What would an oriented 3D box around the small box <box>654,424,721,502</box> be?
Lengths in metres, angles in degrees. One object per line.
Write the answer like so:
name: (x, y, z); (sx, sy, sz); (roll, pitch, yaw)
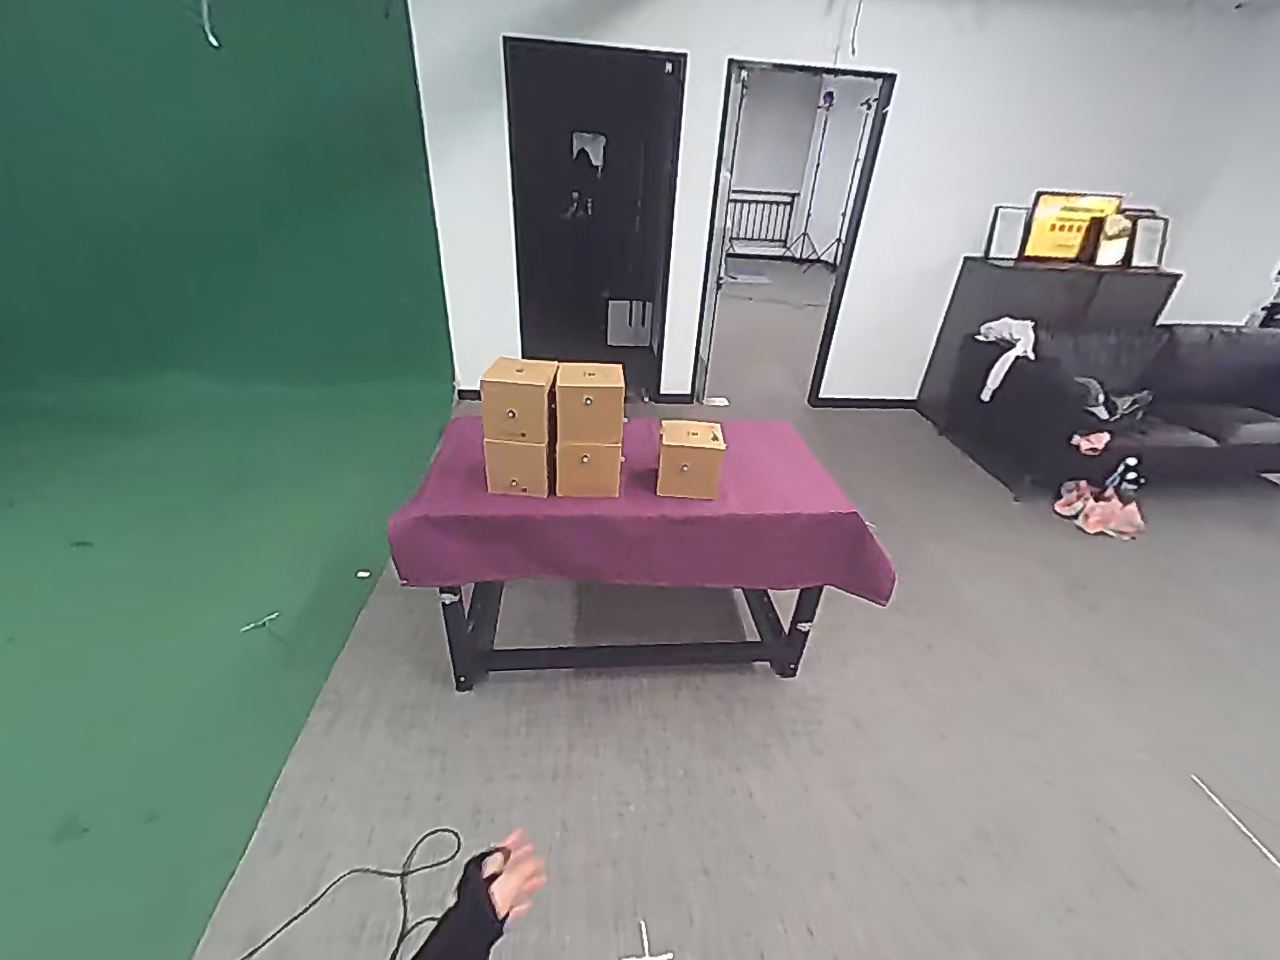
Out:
small box: (0.133, -0.050, 1.570); (0.179, 0.176, 0.168); (4, 31, 0)
